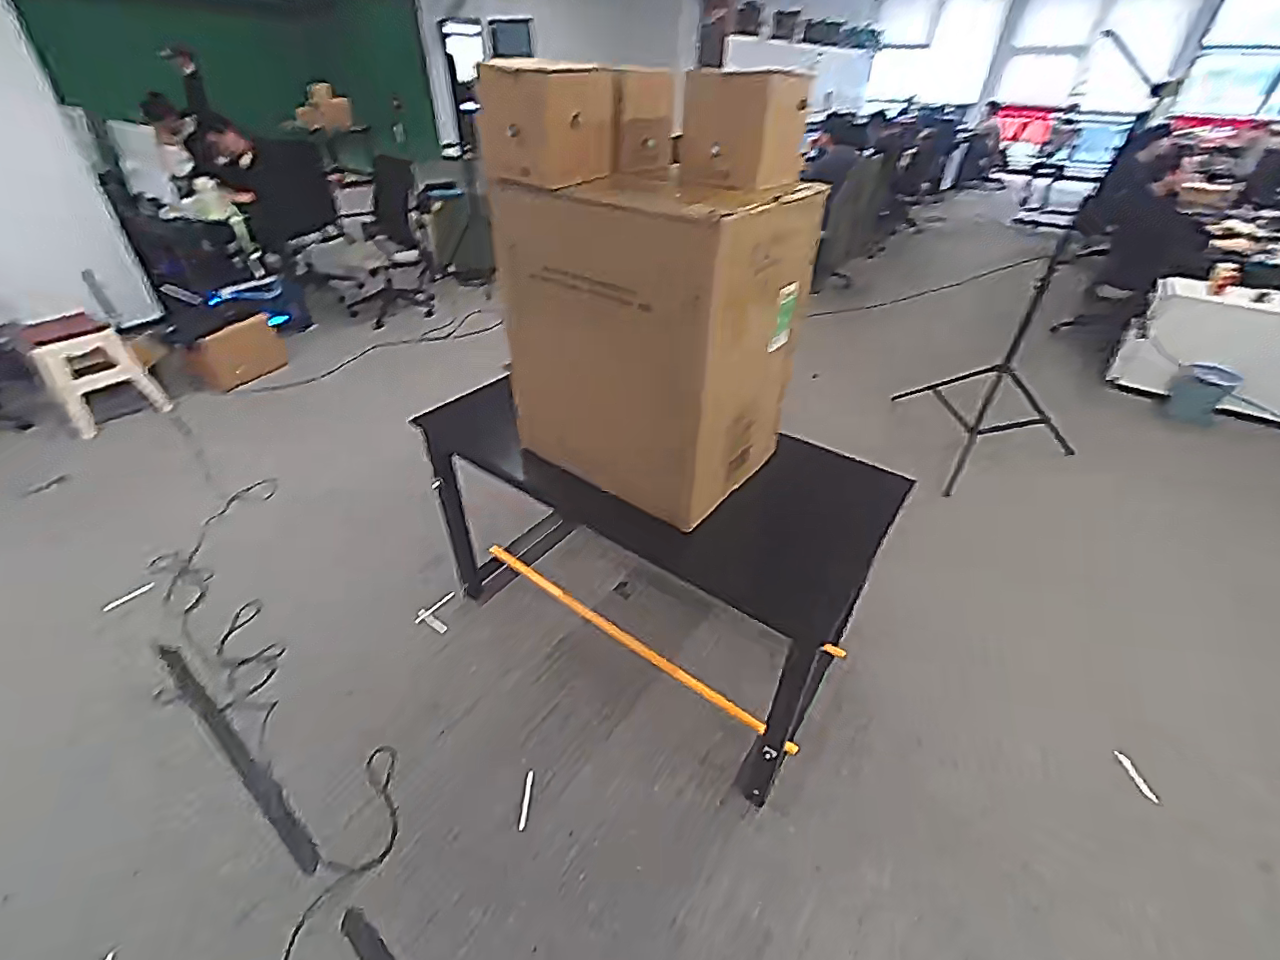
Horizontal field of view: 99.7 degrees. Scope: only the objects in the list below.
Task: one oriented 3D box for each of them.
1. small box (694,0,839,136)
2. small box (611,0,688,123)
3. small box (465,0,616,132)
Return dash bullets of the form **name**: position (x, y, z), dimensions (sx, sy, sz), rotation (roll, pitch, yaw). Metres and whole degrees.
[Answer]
- **small box**: position (0.201, -0.675, 0.890), dimensions (0.168, 0.176, 0.179), rotation (24, 41, 28)
- **small box**: position (-0.034, -0.781, 1.016), dimensions (0.179, 0.176, 0.168), rotation (28, 44, 27)
- **small box**: position (-0.151, -0.681, 0.880), dimensions (0.168, 0.176, 0.179), rotation (25, 46, 22)
